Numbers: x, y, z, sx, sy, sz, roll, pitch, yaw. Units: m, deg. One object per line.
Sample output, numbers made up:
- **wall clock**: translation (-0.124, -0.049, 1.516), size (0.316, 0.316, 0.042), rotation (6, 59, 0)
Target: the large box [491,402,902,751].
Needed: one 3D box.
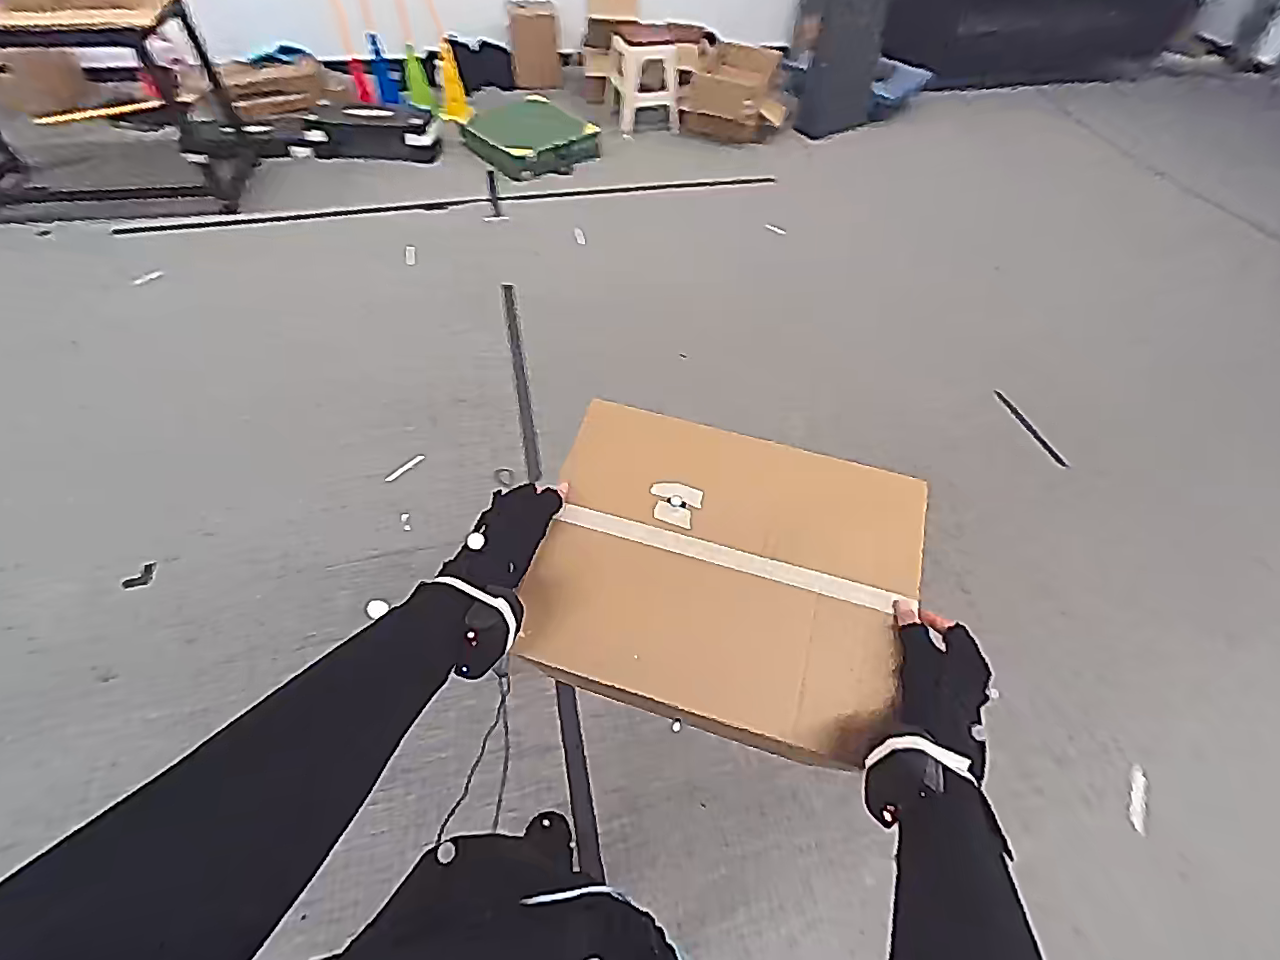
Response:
- **large box**: translation (0.081, 0.141, 0.728), size (0.408, 0.320, 0.320), rotation (14, 65, 9)
